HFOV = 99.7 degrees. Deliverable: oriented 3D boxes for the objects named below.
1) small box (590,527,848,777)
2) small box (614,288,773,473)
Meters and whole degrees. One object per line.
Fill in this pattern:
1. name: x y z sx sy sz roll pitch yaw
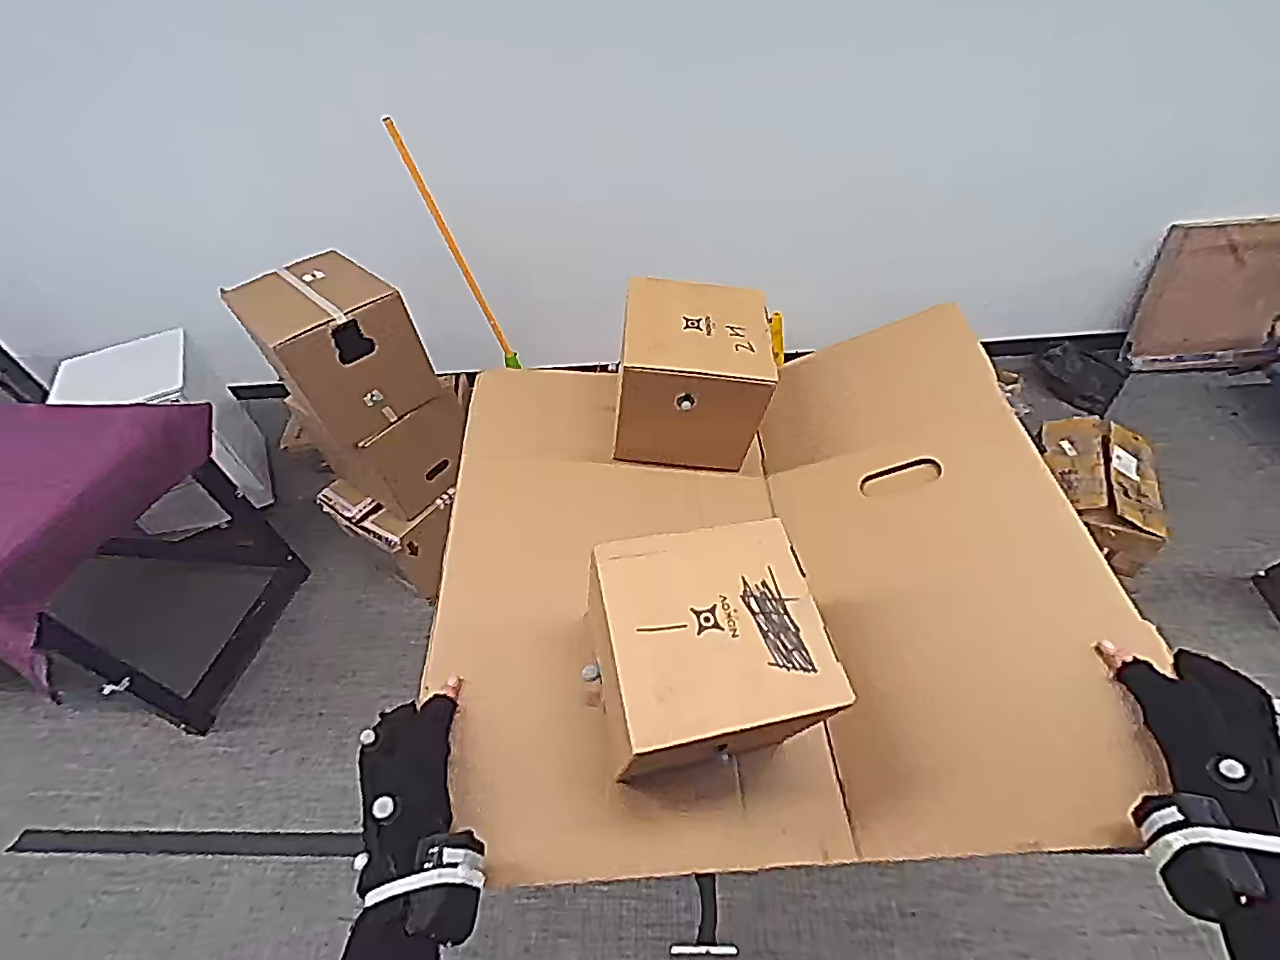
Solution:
1. small box: 0.053 0.164 0.506 0.179 0.176 0.168 -7 57 -12
2. small box: 0.060 -0.124 0.710 0.179 0.176 0.168 6 55 -4
